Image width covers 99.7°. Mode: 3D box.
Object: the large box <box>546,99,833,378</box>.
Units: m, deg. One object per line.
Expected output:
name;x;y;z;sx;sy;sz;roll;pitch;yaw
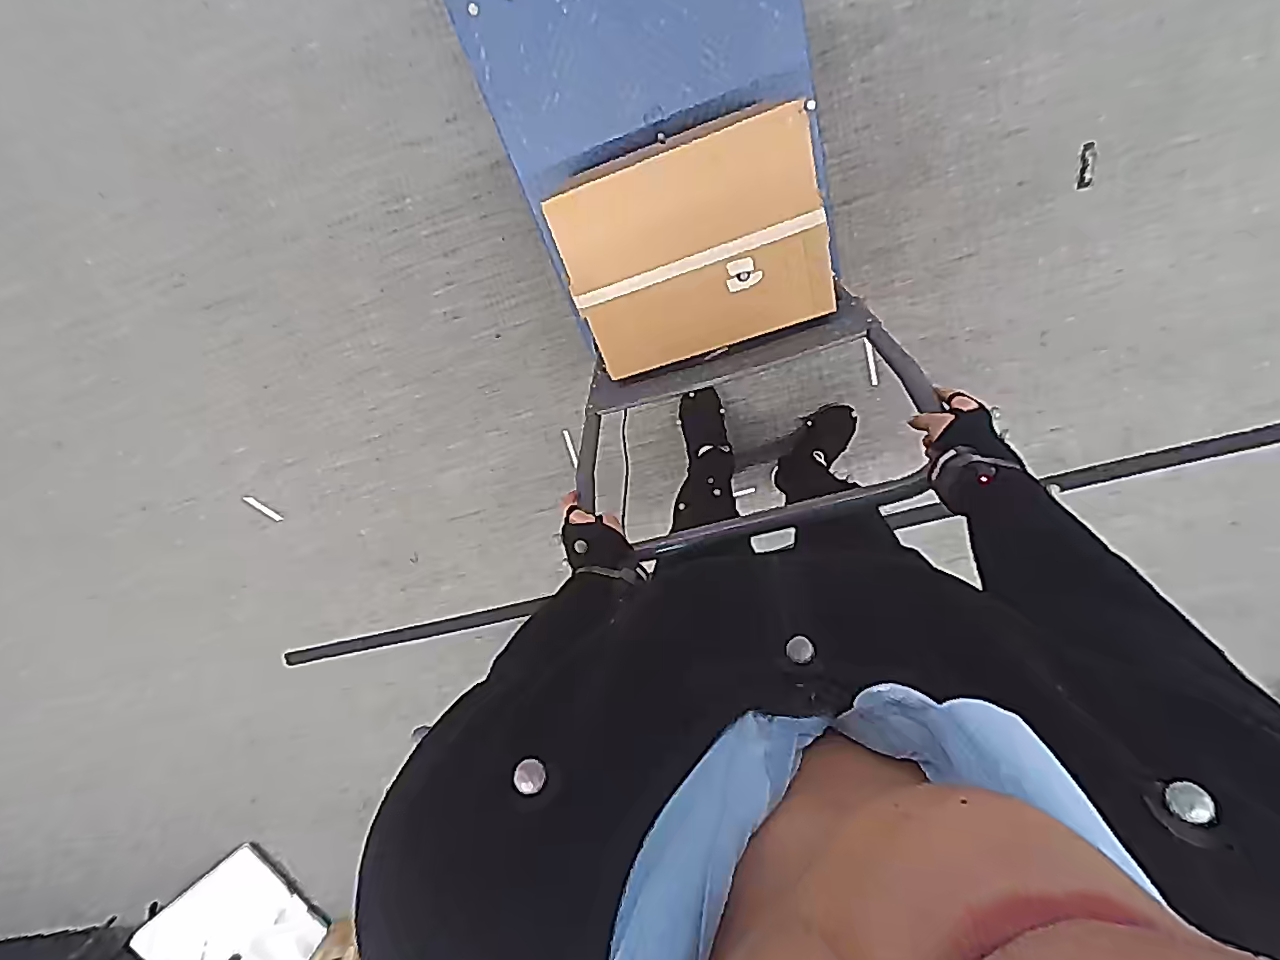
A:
large box;0.090;-0.440;0.993;0.408;0.320;0.320;-16;124;11
